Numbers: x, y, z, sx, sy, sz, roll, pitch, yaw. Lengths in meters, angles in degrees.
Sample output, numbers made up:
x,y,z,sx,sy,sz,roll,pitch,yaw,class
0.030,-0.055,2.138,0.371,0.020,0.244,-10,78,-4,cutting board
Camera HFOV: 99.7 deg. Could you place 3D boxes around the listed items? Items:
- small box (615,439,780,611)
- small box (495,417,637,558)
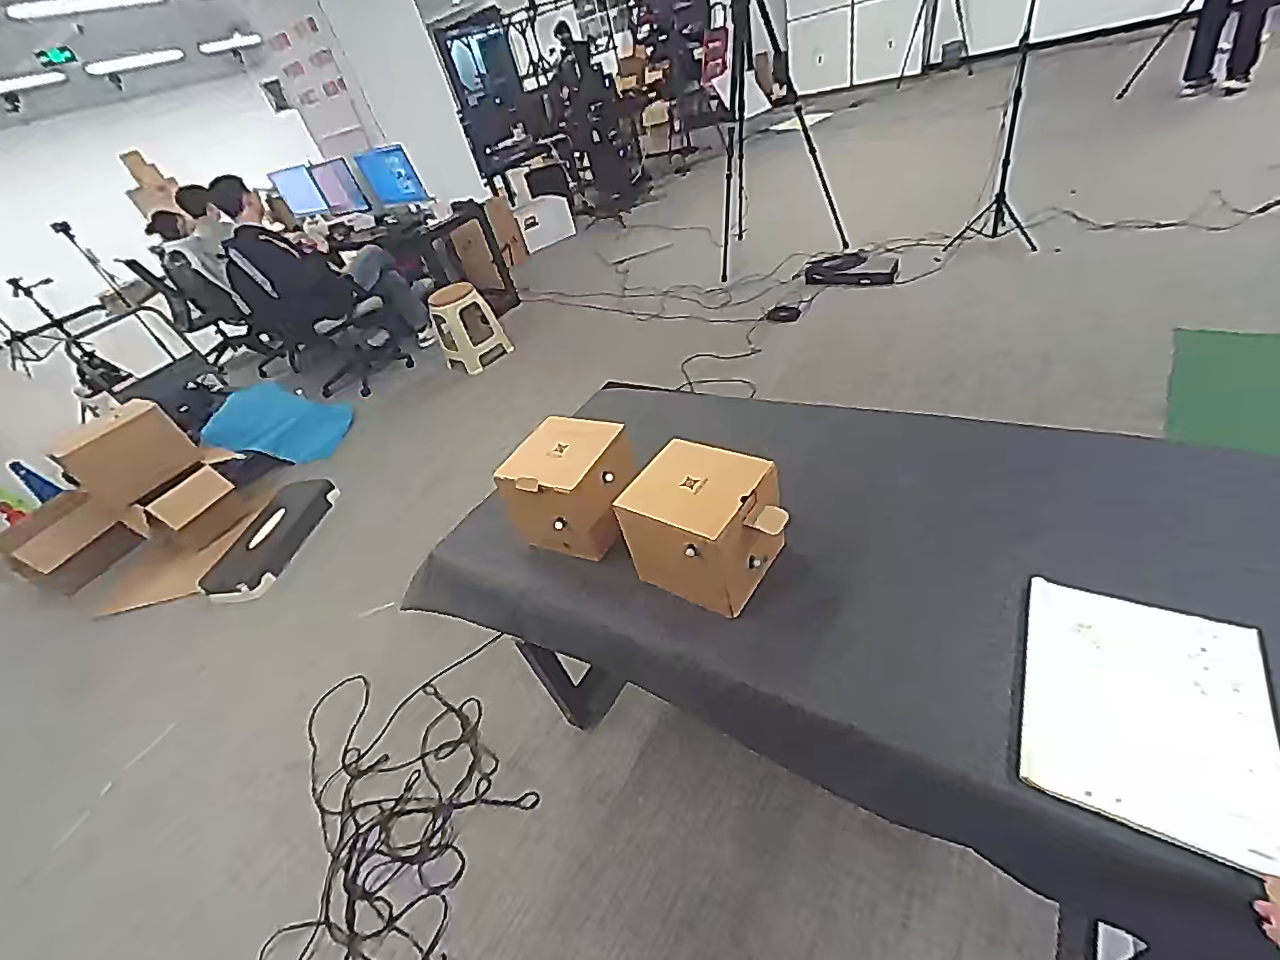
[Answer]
x,y,z,sx,sy,sz,roll,pitch,yaw,class
0.093,0.066,0.806,0.179,0.176,0.168,17,49,35,small box
-0.115,0.011,0.951,0.168,0.176,0.179,10,45,29,small box
